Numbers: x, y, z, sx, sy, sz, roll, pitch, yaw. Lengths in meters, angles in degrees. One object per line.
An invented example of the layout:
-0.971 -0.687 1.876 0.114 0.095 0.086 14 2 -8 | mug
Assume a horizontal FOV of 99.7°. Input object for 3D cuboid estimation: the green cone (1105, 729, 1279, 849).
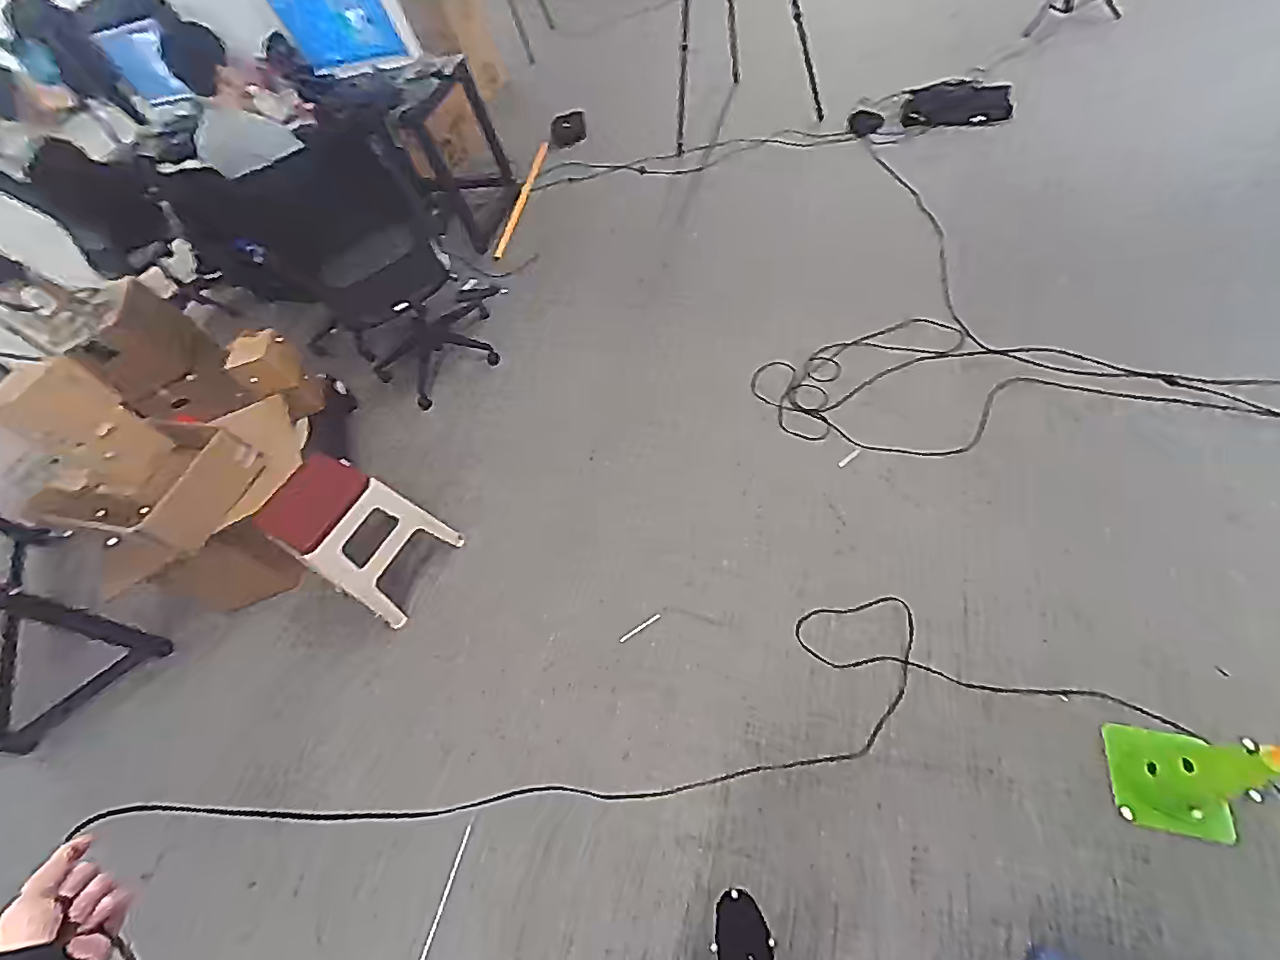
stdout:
1.096 0.556 1.021 0.200 0.368 0.202 3 57 18 | green cone
